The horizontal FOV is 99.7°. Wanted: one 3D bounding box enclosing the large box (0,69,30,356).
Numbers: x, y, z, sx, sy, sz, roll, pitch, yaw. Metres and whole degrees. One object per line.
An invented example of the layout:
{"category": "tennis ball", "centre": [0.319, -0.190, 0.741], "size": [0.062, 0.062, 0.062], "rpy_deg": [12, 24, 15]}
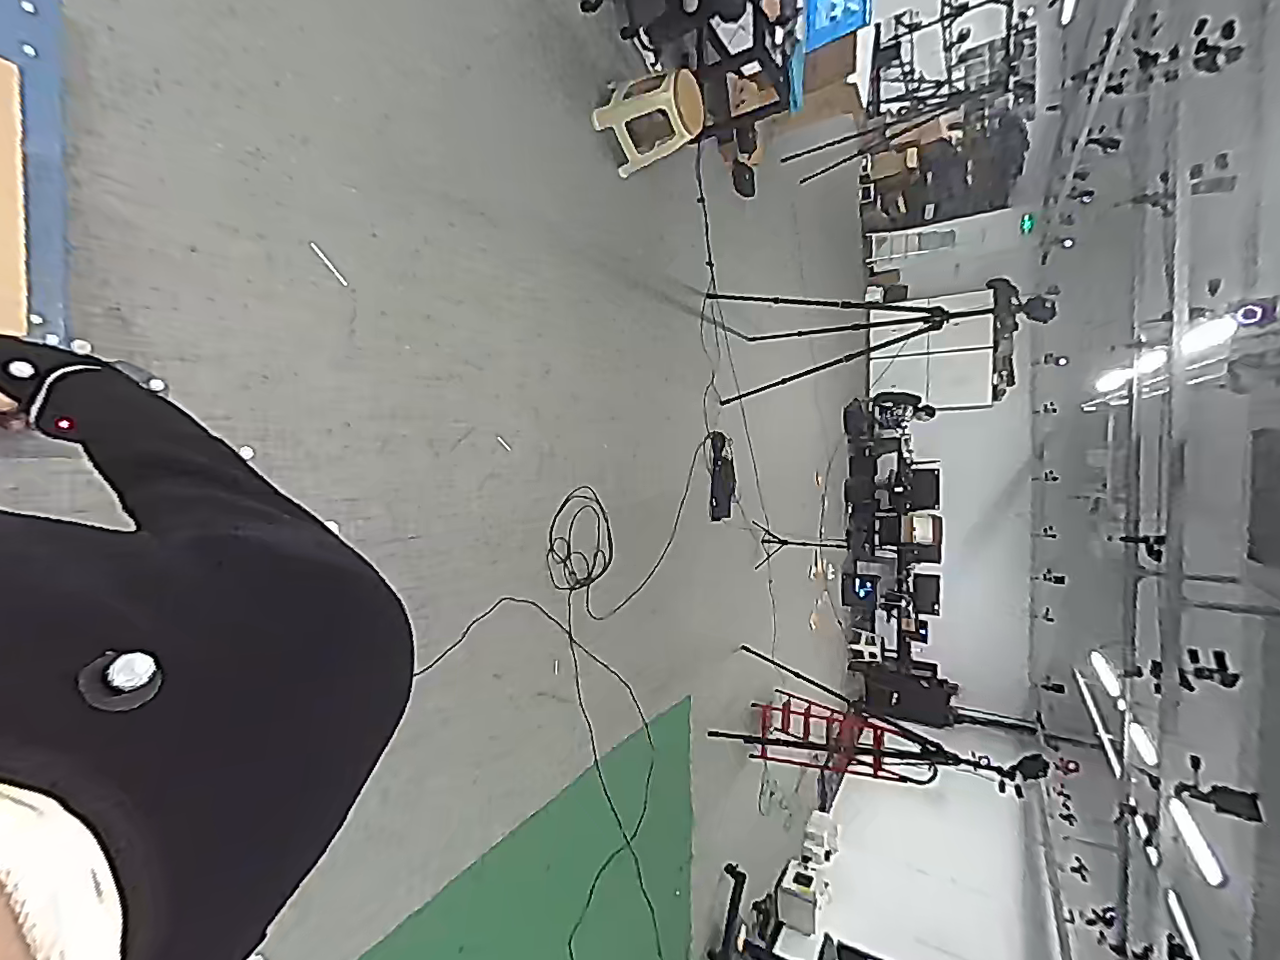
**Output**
{"category": "large box", "centre": [-1.135, -0.397, 0.759], "size": [0.320, 0.320, 0.408], "rpy_deg": [-4, 92, -58]}
